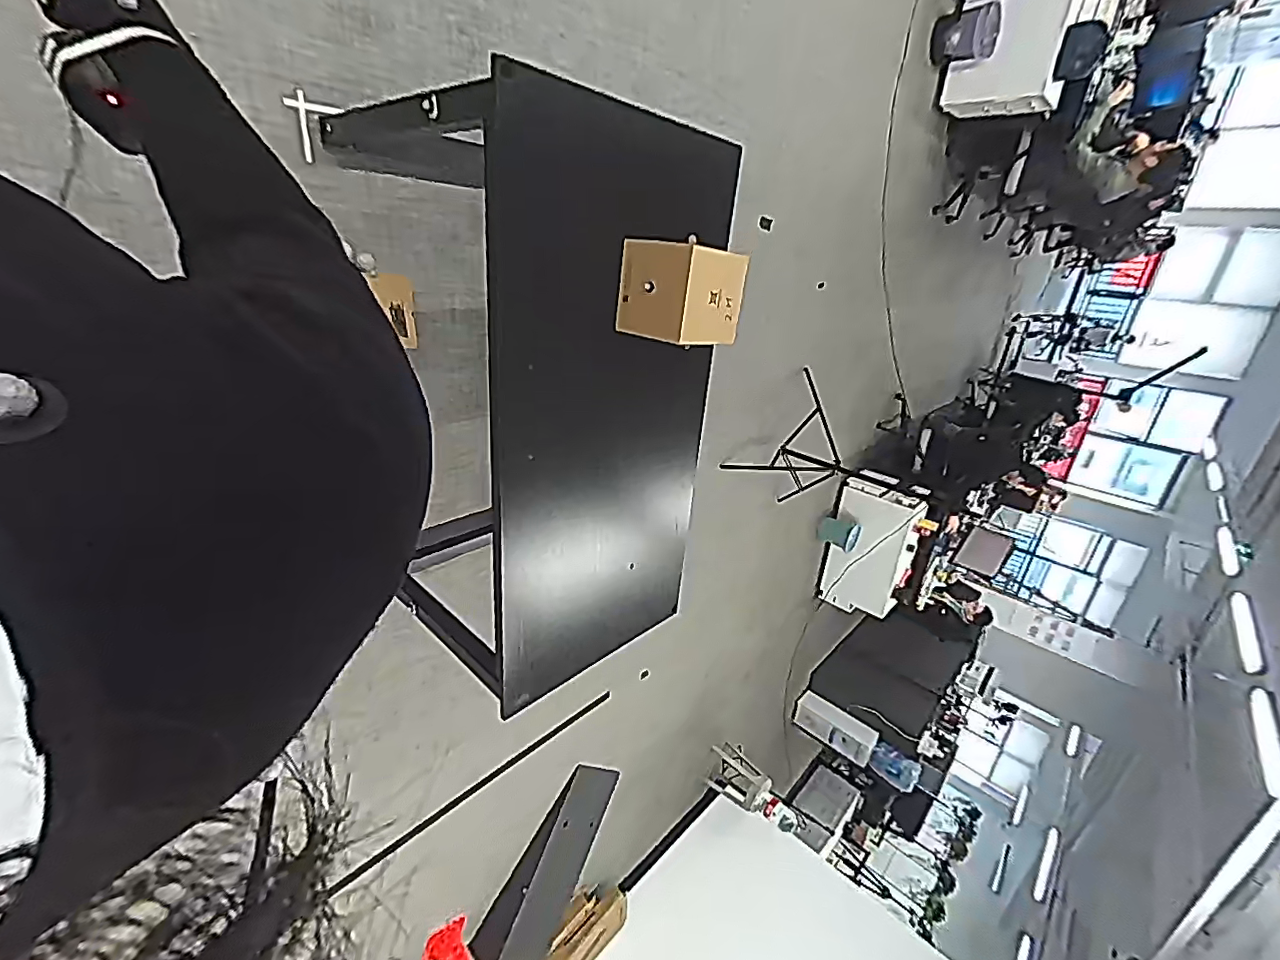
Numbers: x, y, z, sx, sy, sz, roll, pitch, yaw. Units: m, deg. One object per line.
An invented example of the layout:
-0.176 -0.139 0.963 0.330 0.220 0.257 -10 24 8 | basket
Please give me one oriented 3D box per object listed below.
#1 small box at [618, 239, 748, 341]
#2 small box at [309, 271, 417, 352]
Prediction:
0.077 -0.362 1.034 0.179 0.176 0.168 -15 120 -46 | small box
-0.670 -0.413 1.314 0.179 0.176 0.168 -19 122 -43 | small box
